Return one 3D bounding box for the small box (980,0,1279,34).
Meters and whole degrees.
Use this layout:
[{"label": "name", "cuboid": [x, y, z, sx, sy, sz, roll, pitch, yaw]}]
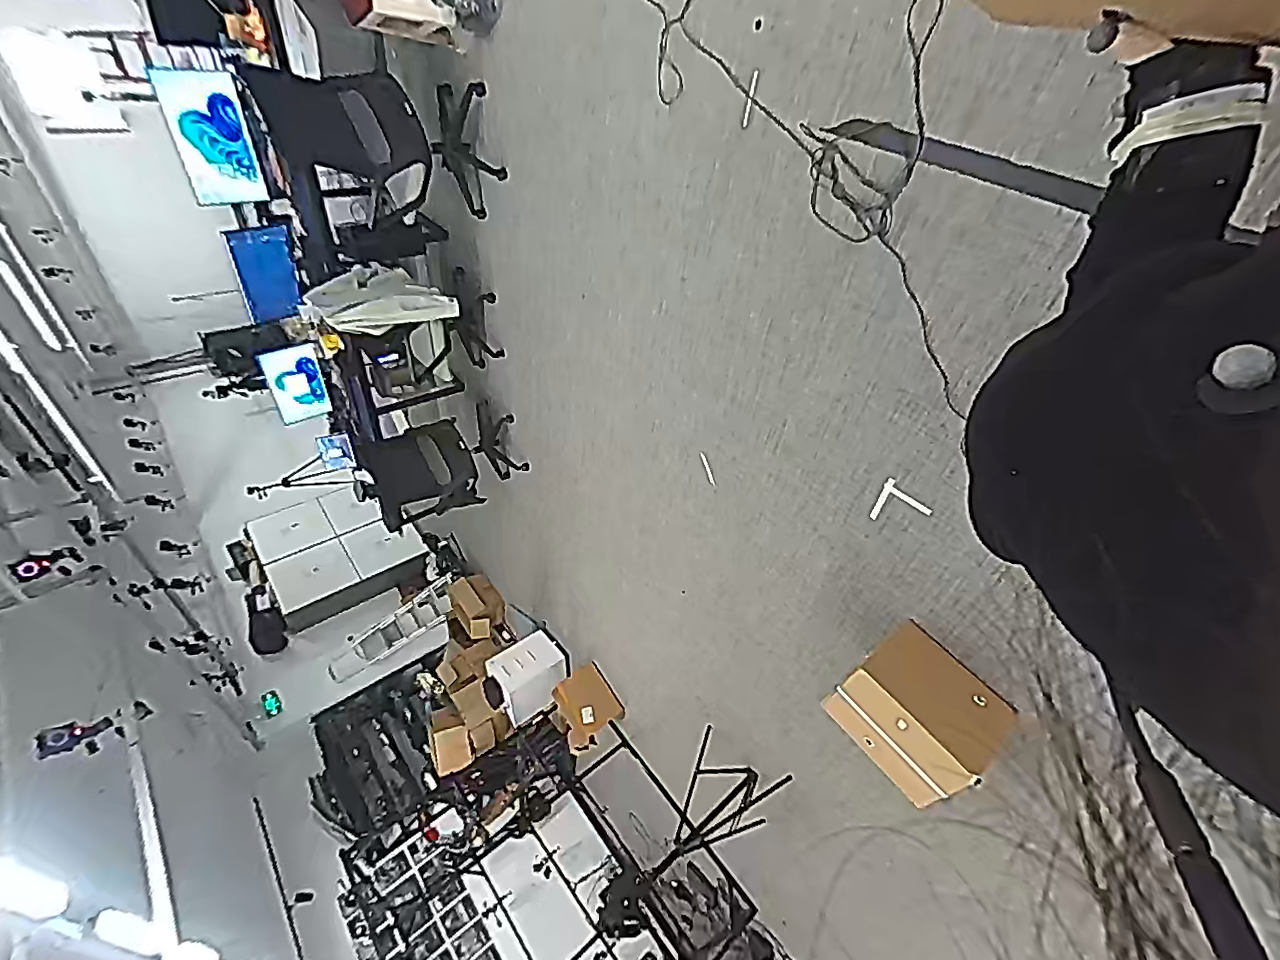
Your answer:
[{"label": "small box", "cuboid": [0.280, -0.347, 0.265, 0.179, 0.176, 0.168, 41, 131, 34]}]
